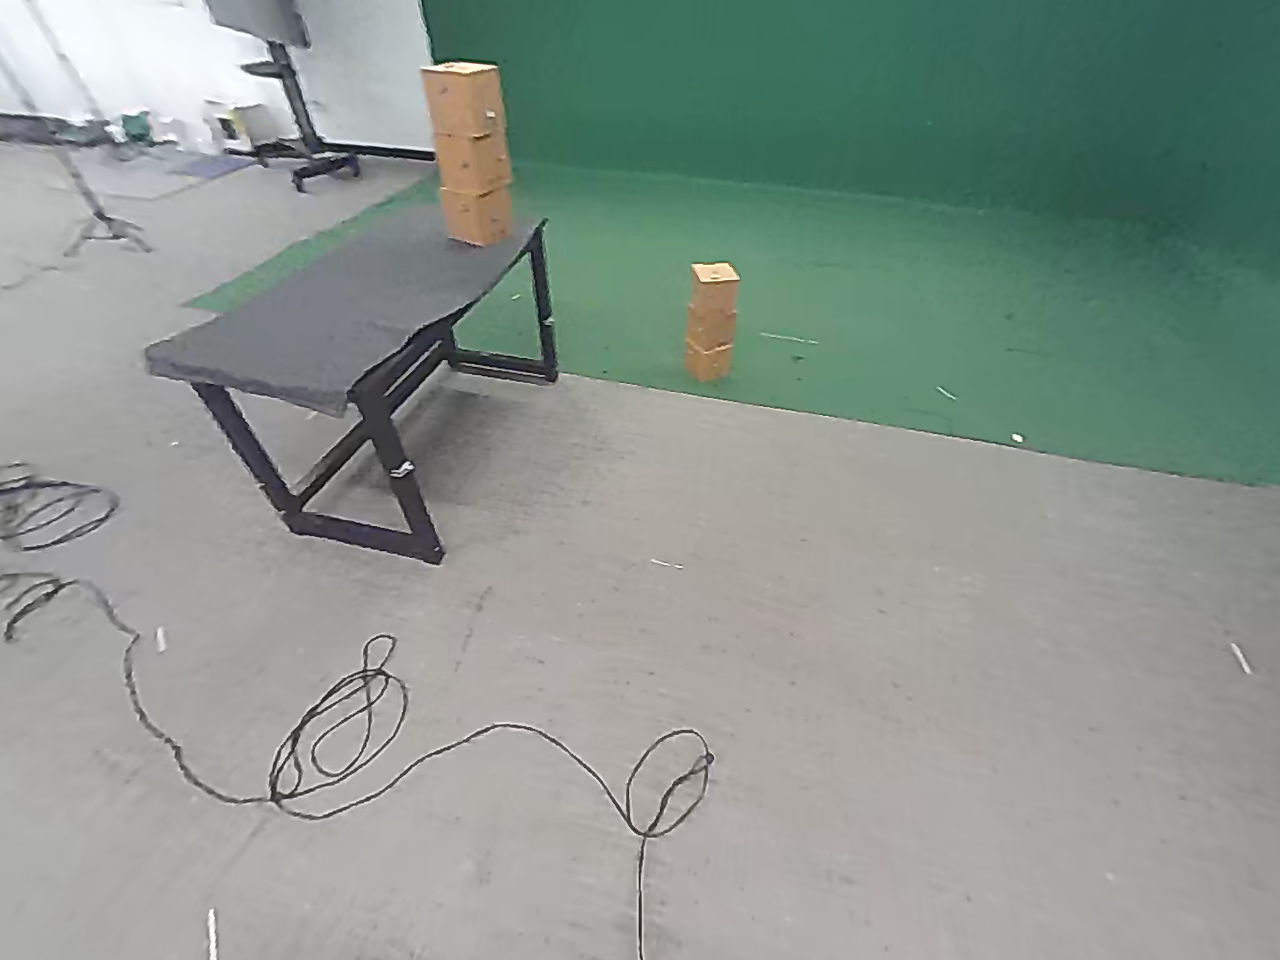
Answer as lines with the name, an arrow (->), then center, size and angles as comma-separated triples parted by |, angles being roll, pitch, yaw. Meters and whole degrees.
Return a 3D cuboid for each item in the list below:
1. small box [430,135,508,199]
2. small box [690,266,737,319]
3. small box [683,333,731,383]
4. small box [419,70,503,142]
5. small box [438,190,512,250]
small box -> -0.571, -1.071, 1.836 | 0.179, 0.176, 0.168 | 20, 46, 22
small box -> 0.323, -0.838, 2.424 | 0.168, 0.176, 0.179 | -7, 45, -8
small box -> 0.324, -0.589, 2.639 | 0.168, 0.176, 0.179 | -22, 48, -21
small box -> -0.564, -1.193, 1.726 | 0.179, 0.176, 0.168 | 17, 46, 17
small box -> -0.585, -0.944, 1.938 | 0.179, 0.176, 0.168 | 24, 49, 25
